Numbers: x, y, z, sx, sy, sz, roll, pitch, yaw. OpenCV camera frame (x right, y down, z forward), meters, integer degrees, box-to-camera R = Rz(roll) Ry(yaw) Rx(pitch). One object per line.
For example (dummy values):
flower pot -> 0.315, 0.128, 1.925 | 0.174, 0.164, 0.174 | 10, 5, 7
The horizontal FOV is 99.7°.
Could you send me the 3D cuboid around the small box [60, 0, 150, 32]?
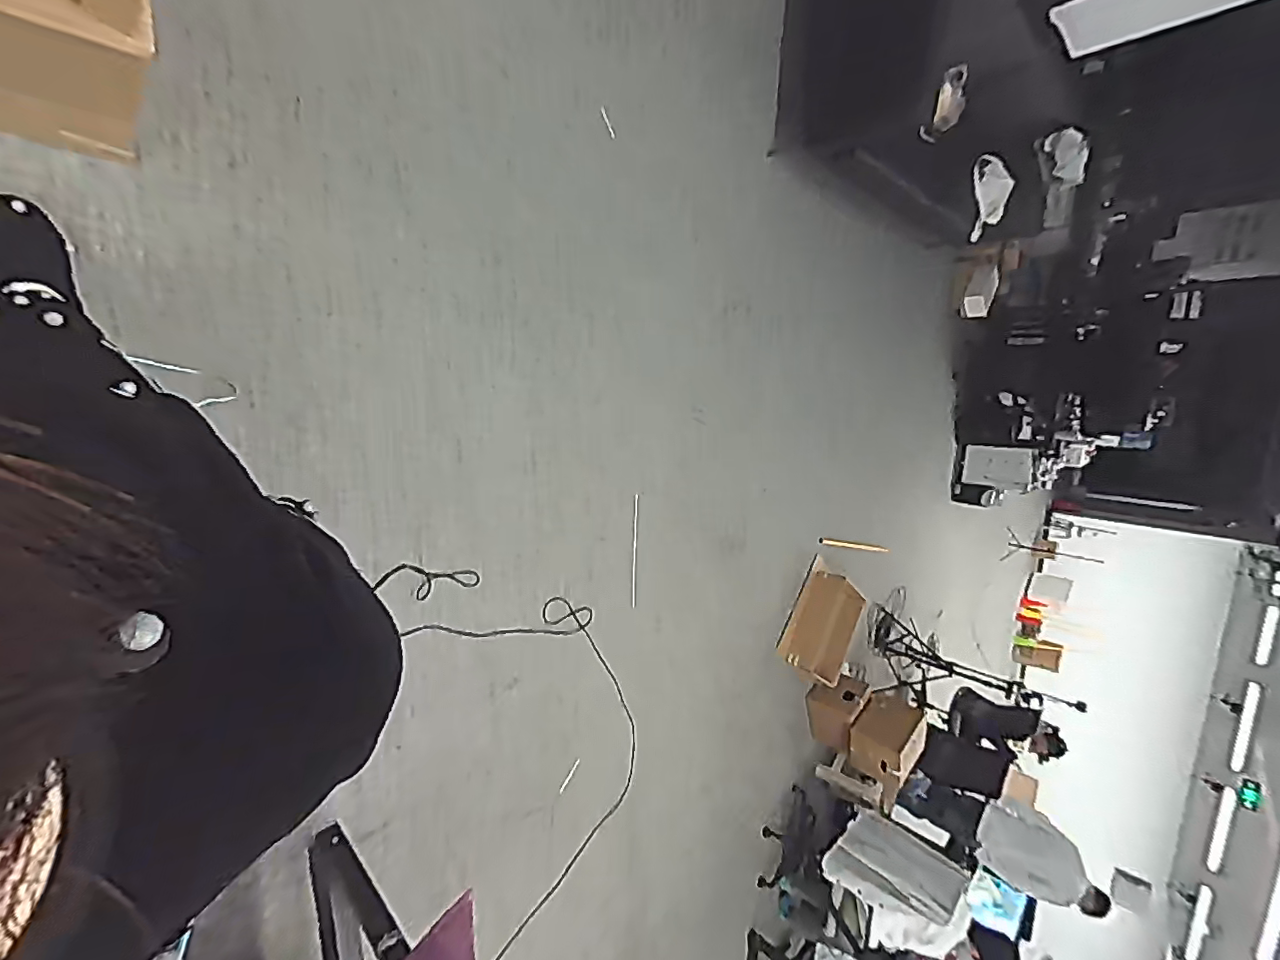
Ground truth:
small box -> -0.654, -0.668, 0.603 | 0.168, 0.176, 0.179 | 3, 96, -44
